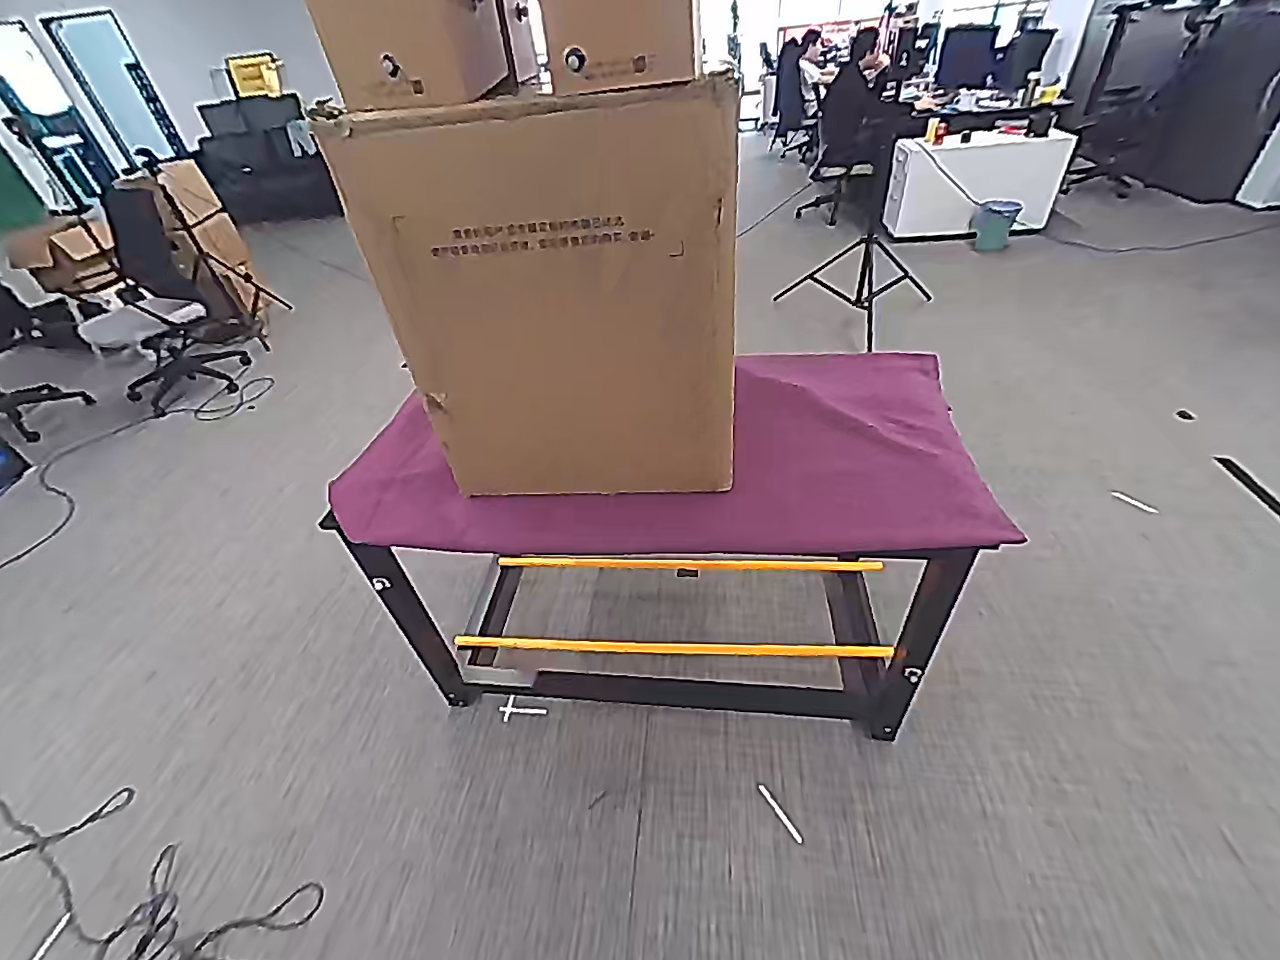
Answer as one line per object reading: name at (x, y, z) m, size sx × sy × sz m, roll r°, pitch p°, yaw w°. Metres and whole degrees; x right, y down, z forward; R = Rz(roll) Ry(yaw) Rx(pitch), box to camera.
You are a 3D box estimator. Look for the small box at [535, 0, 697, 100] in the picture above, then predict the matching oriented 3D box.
small box at (-0.021, -0.551, 0.619) m, size 0.168 × 0.176 × 0.179 m, roll -1°, pitch 42°, yaw 8°
